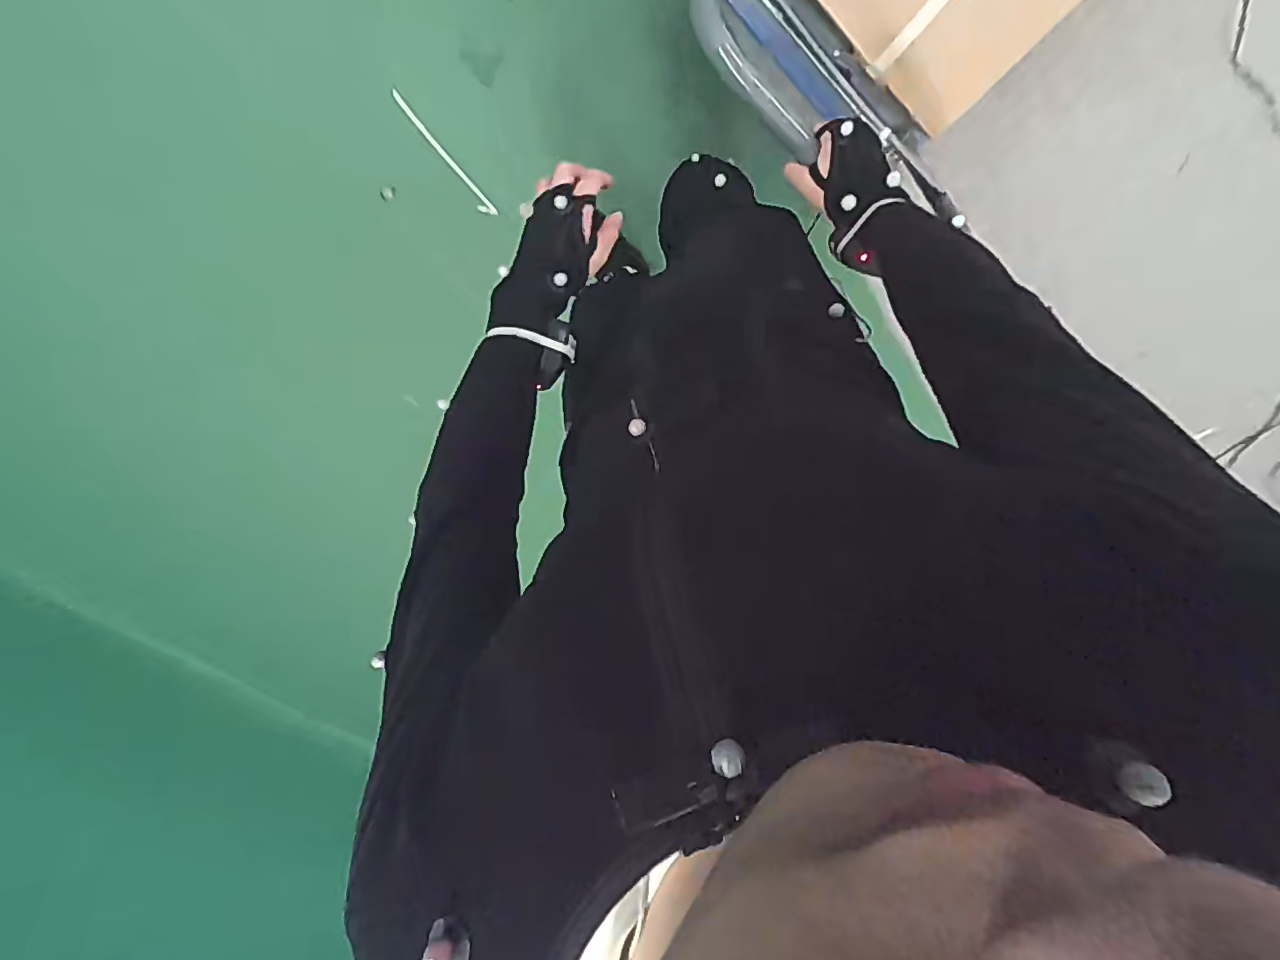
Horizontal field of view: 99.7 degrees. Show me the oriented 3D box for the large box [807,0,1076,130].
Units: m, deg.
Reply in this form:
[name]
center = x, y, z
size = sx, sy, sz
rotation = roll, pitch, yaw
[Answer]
[large box]
center = 0.502, -0.843, 0.816
size = 0.320, 0.320, 0.408
rotation = 33, 128, -21
